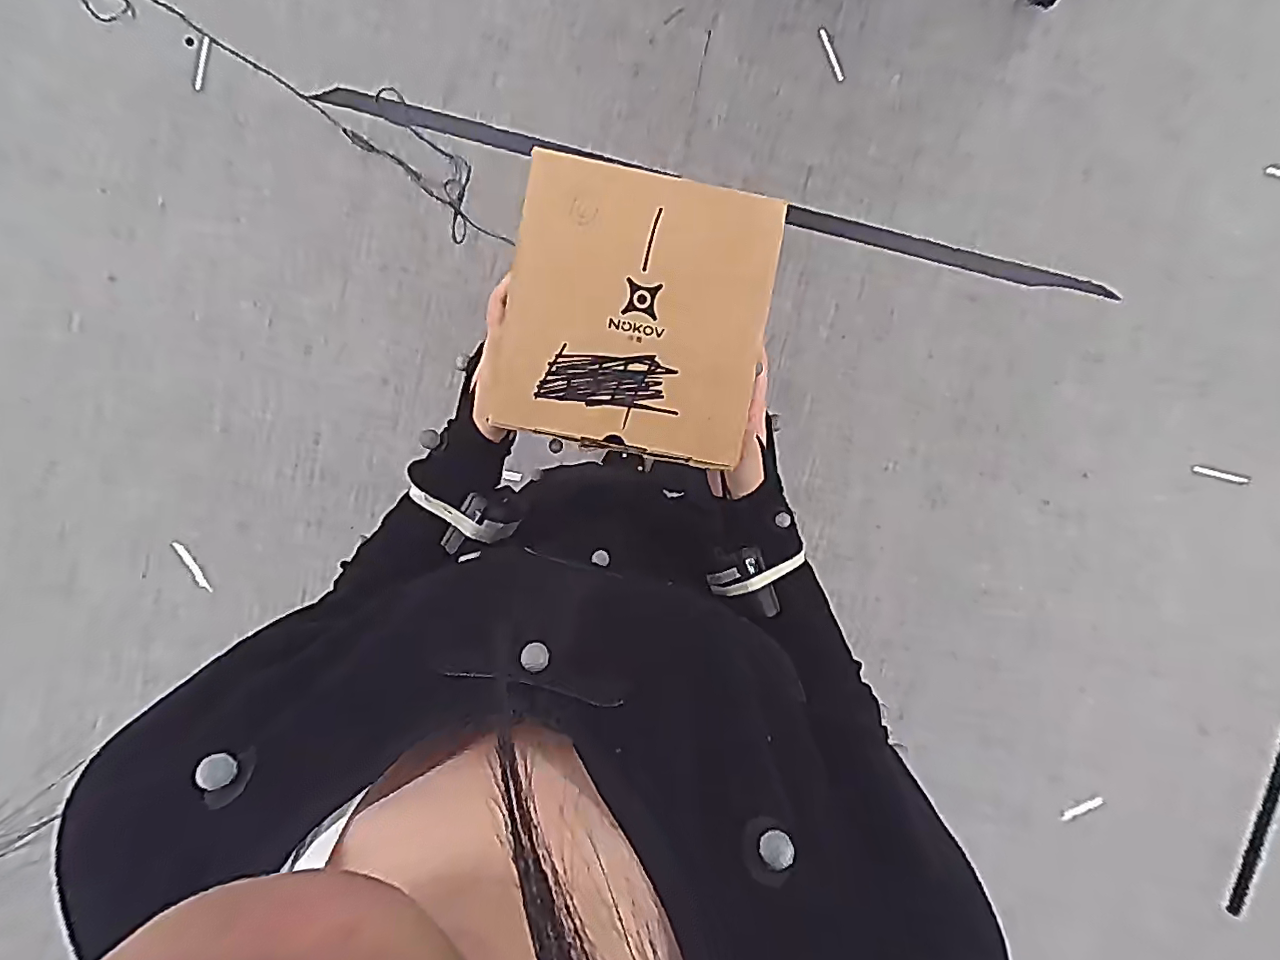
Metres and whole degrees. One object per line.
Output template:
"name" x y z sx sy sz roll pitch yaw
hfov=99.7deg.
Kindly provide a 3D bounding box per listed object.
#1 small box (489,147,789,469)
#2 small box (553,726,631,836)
"small box" -0.004 -0.111 0.422 0.168 0.176 0.179 11 92 -4
"small box" -0.123 0.803 1.454 0.168 0.176 0.179 16 93 -2
